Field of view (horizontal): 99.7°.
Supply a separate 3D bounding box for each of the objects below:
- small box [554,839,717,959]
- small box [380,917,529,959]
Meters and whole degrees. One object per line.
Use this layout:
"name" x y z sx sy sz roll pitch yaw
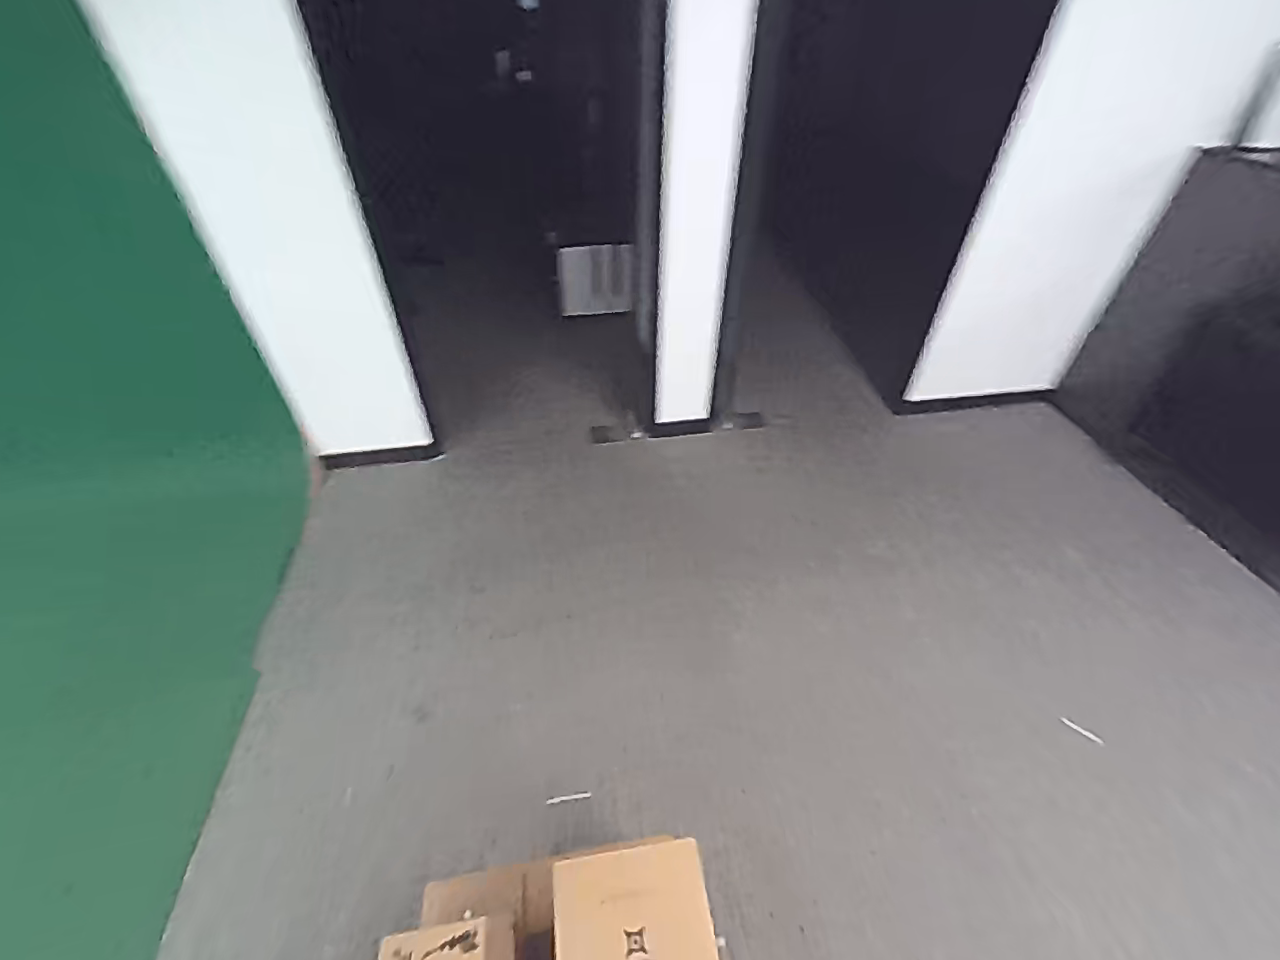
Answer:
"small box" -0.003 0.537 0.606 0.168 0.176 0.179 -6 43 -6
"small box" -0.231 0.686 0.682 0.168 0.176 0.179 -5 44 -8
